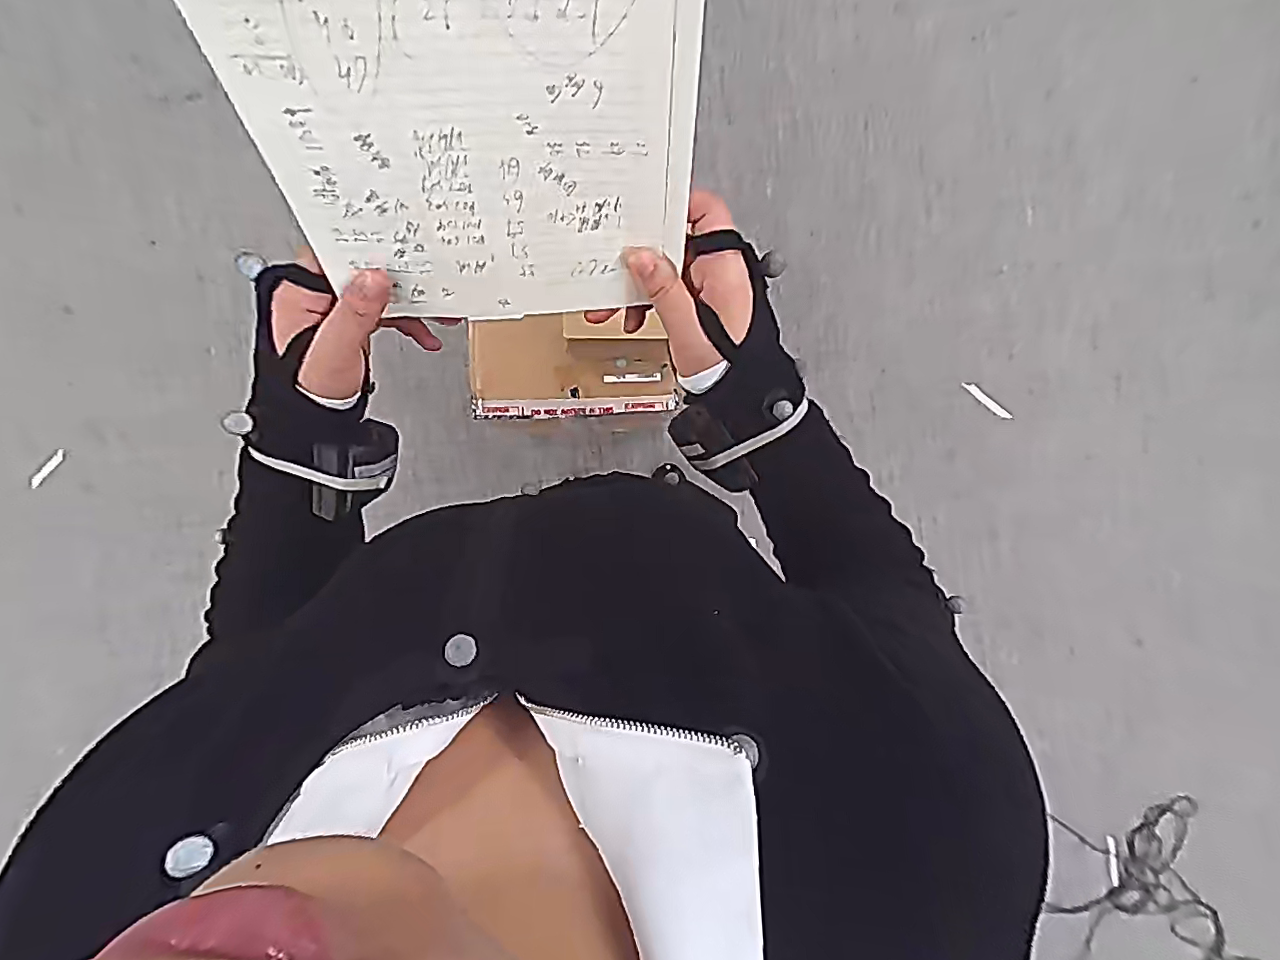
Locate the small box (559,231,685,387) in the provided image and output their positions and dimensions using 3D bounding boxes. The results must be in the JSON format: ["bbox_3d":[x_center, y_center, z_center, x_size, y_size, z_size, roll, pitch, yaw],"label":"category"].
[{"bbox_3d":[-0.029,-0.236,0.782,0.168,0.176,0.179,0,93,-3],"label":"small box"}]

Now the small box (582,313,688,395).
[{"bbox_3d":[-0.018,-0.244,0.947,0.179,0.176,0.168,-4,92,-2],"label":"small box"}]
